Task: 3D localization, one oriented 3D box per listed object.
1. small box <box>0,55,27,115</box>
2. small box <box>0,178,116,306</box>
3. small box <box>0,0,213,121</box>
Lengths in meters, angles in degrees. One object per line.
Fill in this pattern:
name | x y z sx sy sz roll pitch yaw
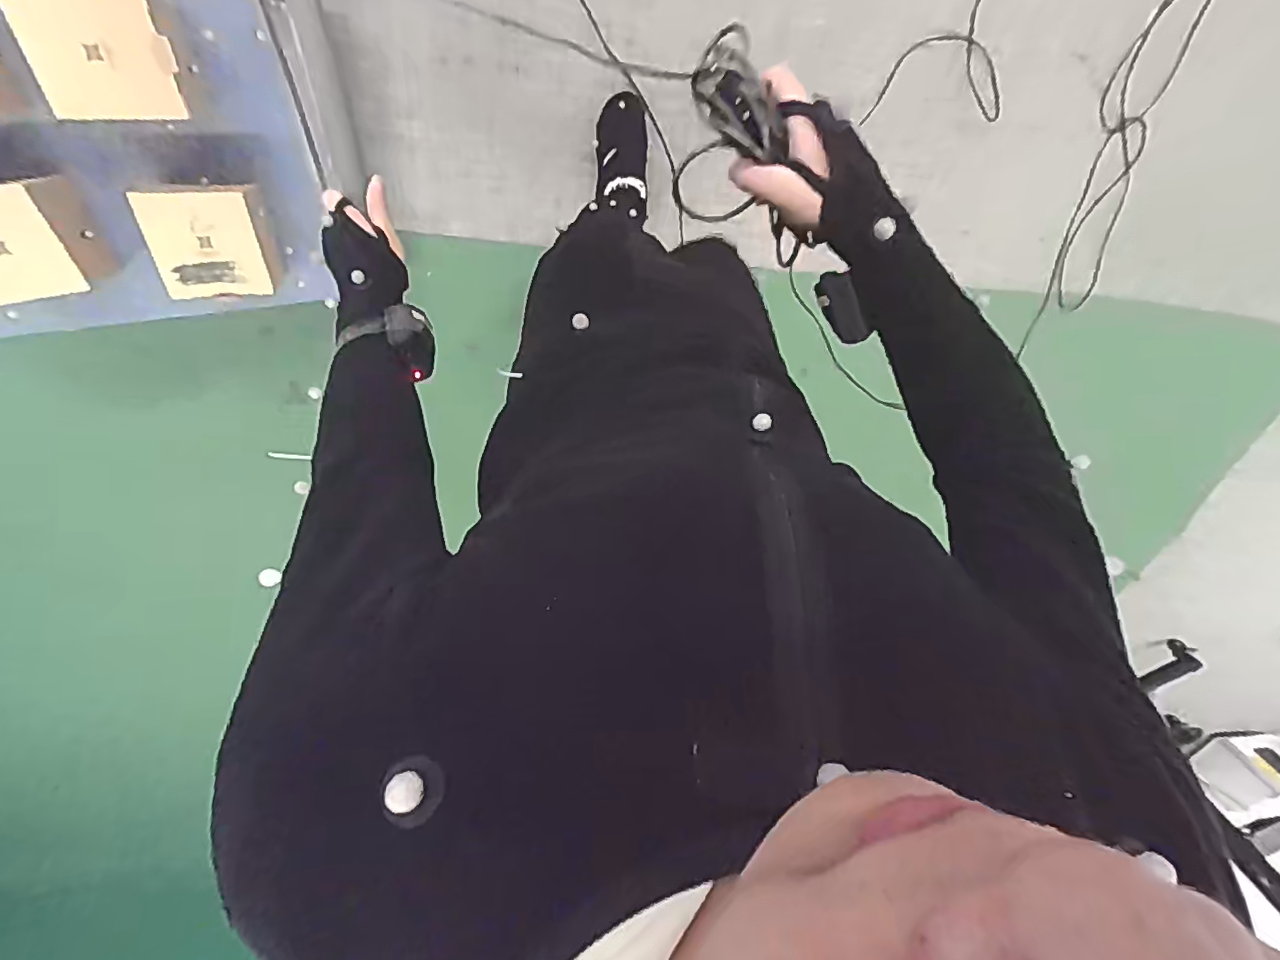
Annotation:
small box | -1.069 -0.618 0.773 0.179 0.176 0.168 -16 128 -16
small box | -1.055 -0.408 0.922 0.179 0.176 0.168 -17 127 -14
small box | -0.826 -0.669 0.855 0.179 0.176 0.168 -13 126 -18
